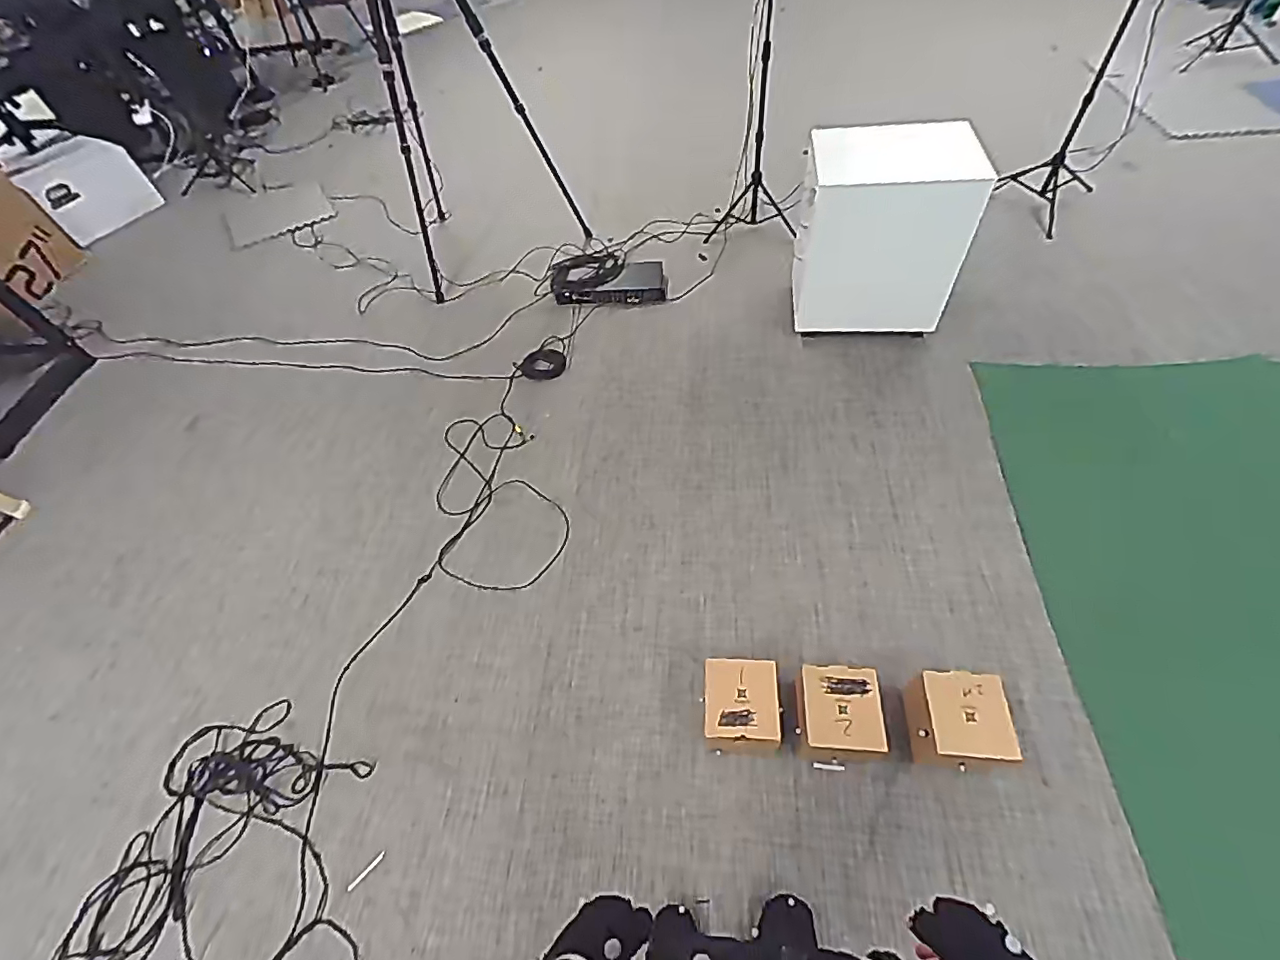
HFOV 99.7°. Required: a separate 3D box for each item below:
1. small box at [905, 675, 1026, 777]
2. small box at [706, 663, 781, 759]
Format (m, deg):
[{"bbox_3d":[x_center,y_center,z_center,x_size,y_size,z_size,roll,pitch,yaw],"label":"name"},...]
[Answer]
[{"bbox_3d":[0.718,0.556,1.215,0.168,0.176,0.179,2,54,7],"label":"small box"},{"bbox_3d":[0.242,0.549,1.280,0.168,0.176,0.179,0,53,8],"label":"small box"}]
